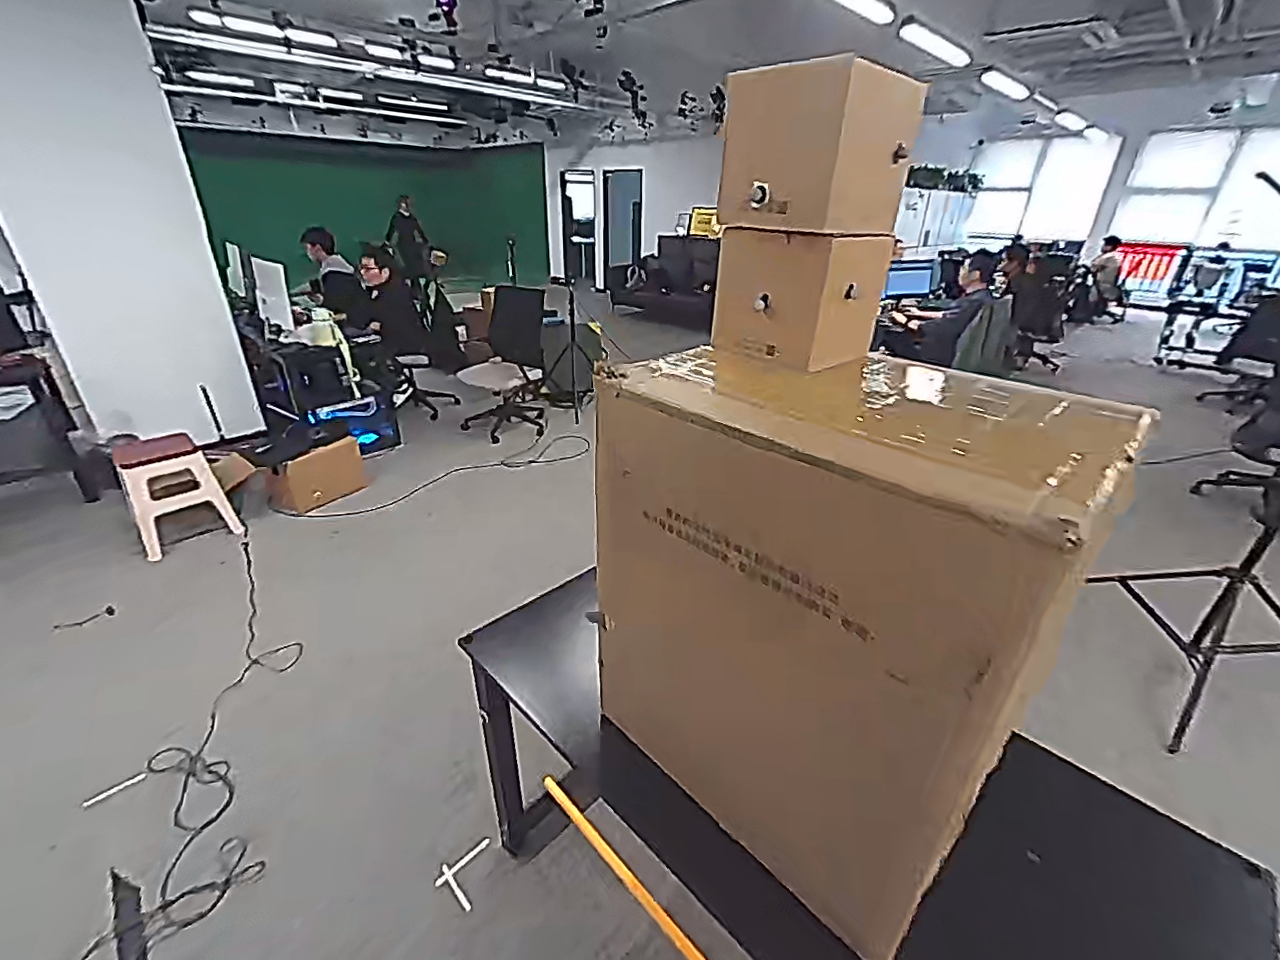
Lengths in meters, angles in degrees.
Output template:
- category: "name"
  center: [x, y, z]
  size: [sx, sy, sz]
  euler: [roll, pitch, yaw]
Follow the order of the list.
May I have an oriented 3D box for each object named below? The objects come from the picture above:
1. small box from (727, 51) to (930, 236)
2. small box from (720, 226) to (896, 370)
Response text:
- category: "small box"
  center: [0.223, -0.401, 0.672]
  size: [0.179, 0.176, 0.168]
  euler: [-21, 34, -38]
- category: "small box"
  center: [0.227, -0.261, 0.758]
  size: [0.179, 0.176, 0.168]
  euler: [-23, 37, -39]
